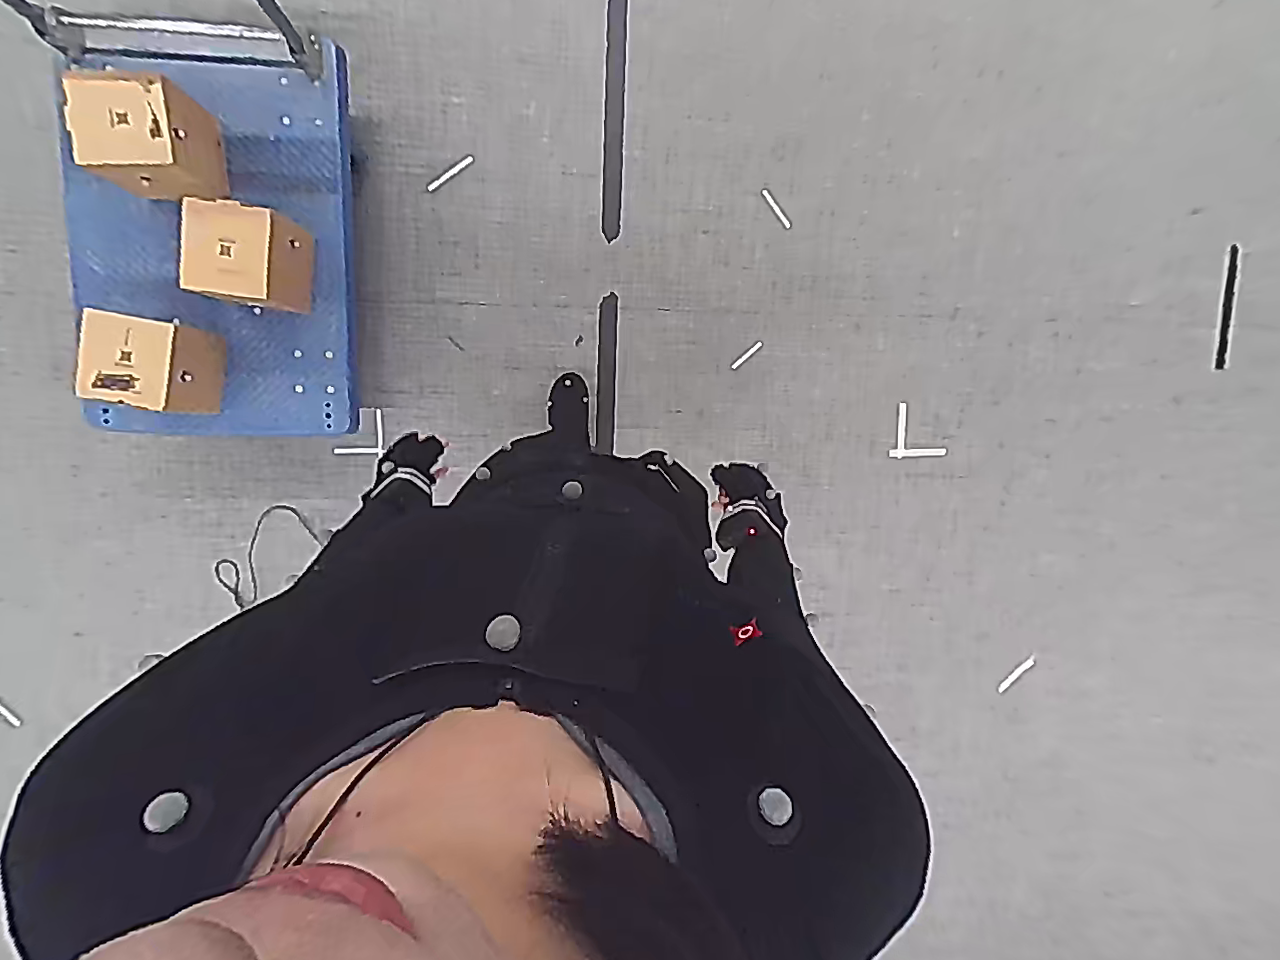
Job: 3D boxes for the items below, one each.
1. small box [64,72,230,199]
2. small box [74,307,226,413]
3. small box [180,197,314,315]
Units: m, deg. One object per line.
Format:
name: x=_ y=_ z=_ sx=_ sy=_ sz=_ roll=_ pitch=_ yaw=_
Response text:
small box: x=-0.979 y=-0.683 z=1.089 sx=0.179 sy=0.176 sz=0.168 roll=-3 pitch=97 yaw=-4
small box: x=-1.014 y=-0.241 z=1.133 sx=0.168 sy=0.176 sz=0.179 roll=11 pitch=94 yaw=-6
small box: x=-0.809 y=-0.458 z=1.130 sx=0.168 sy=0.176 sz=0.179 roll=7 pitch=97 yaw=-4
